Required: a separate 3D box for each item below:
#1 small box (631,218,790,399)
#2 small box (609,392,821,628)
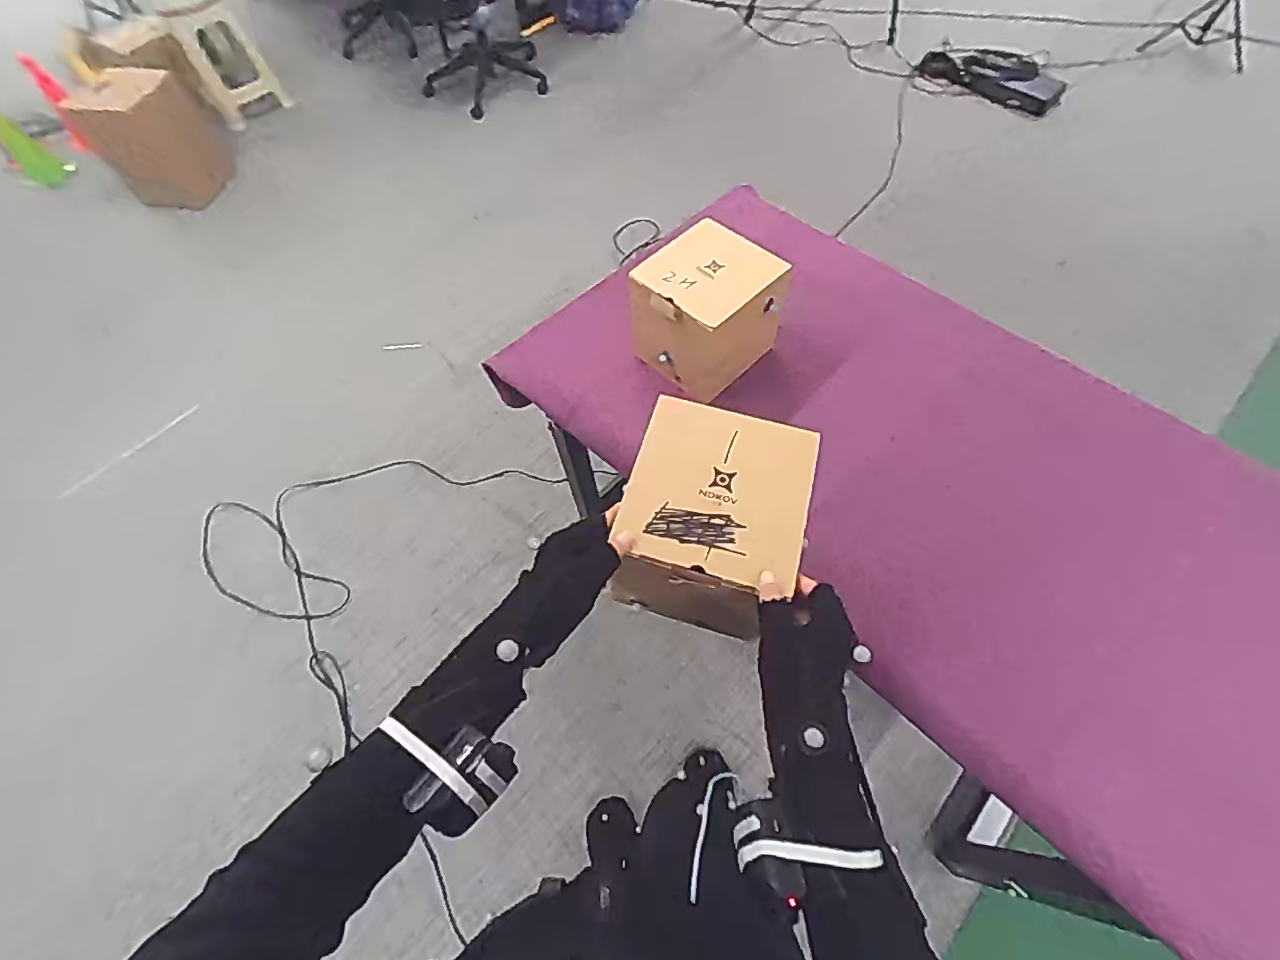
[{"bbox_3d":[0.104,-0.264,0.848,0.179,0.176,0.168,-42,67,-18],"label":"small box"},{"bbox_3d":[0.076,0.040,0.573,0.168,0.176,0.179,15,63,8],"label":"small box"}]
